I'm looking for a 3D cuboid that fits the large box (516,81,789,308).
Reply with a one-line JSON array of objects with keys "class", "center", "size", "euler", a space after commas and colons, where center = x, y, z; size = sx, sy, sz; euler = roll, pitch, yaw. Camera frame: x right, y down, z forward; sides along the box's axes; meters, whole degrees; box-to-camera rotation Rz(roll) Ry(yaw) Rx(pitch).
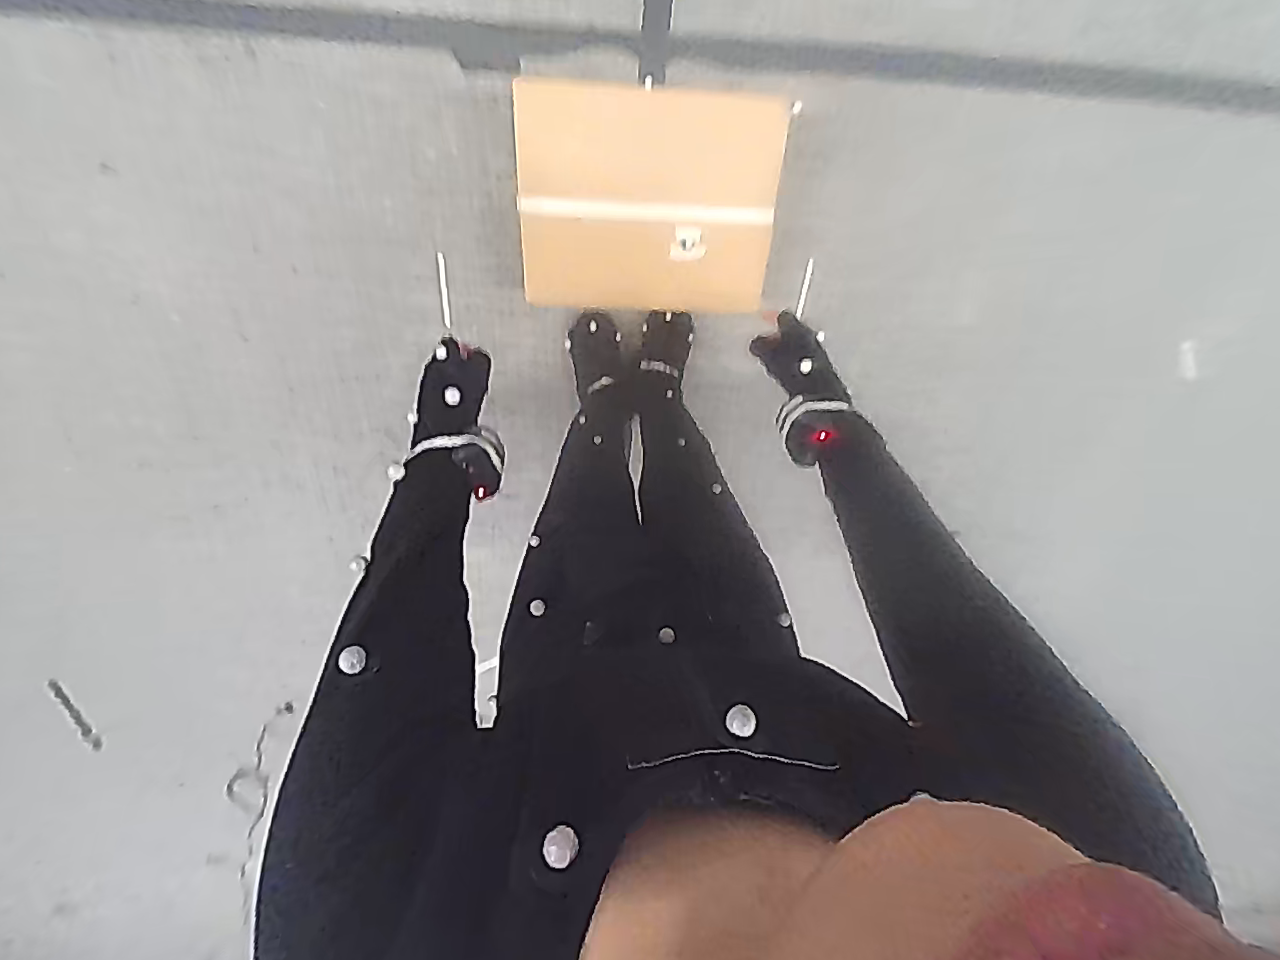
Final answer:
[{"class": "large box", "center": [0.006, -0.510, 0.981], "size": [0.408, 0.320, 0.320], "euler": [0, 123, -5]}]
